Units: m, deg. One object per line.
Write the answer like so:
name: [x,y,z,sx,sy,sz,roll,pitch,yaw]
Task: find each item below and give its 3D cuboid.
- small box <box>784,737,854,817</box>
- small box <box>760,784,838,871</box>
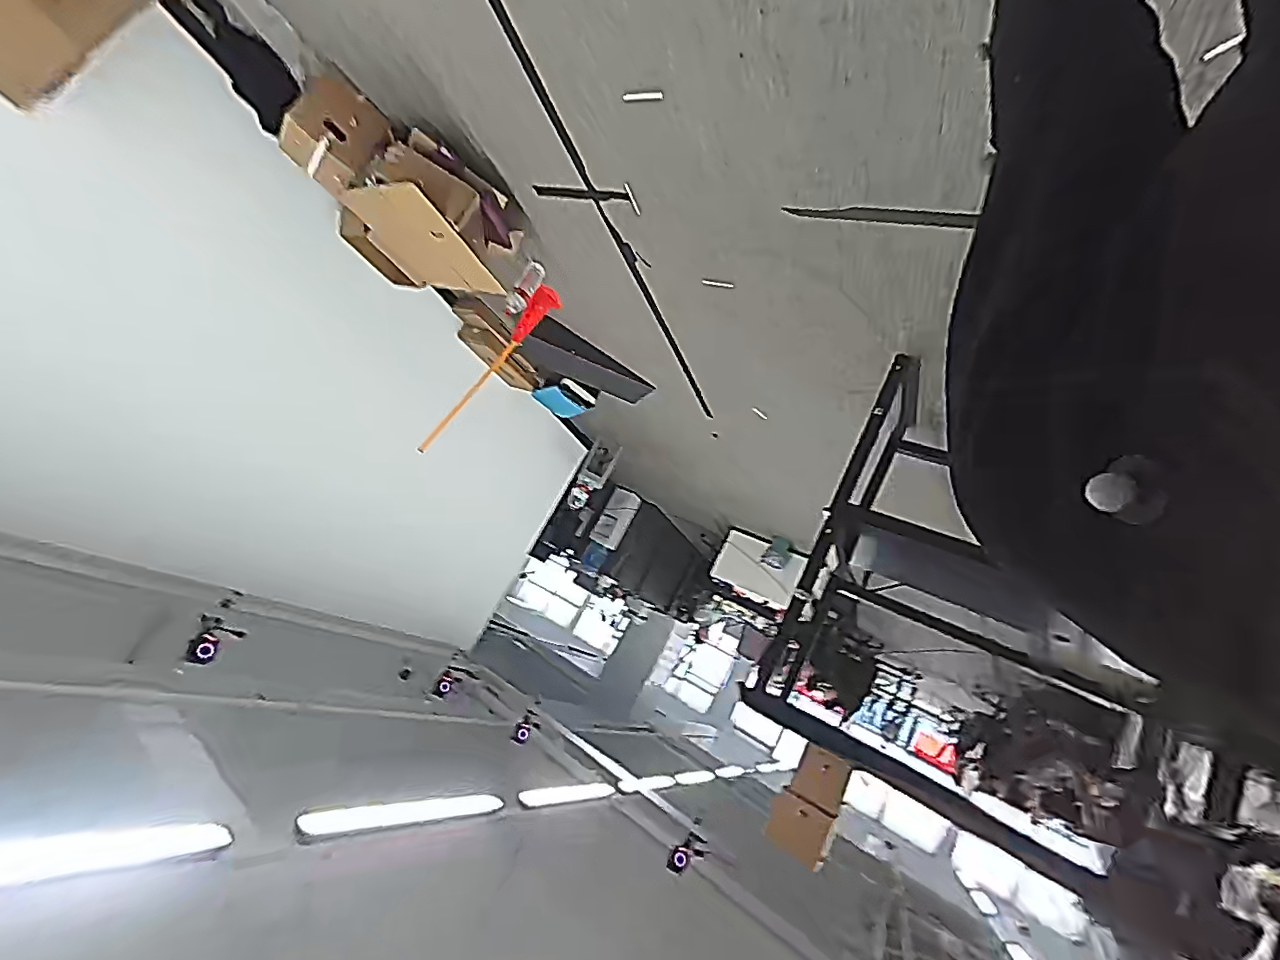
small box: [0.587,0.957,1.761,0.168,0.176,0.179,20,166,29]
small box: [0.504,1.095,1.717,0.179,0.176,0.168,21,166,34]
